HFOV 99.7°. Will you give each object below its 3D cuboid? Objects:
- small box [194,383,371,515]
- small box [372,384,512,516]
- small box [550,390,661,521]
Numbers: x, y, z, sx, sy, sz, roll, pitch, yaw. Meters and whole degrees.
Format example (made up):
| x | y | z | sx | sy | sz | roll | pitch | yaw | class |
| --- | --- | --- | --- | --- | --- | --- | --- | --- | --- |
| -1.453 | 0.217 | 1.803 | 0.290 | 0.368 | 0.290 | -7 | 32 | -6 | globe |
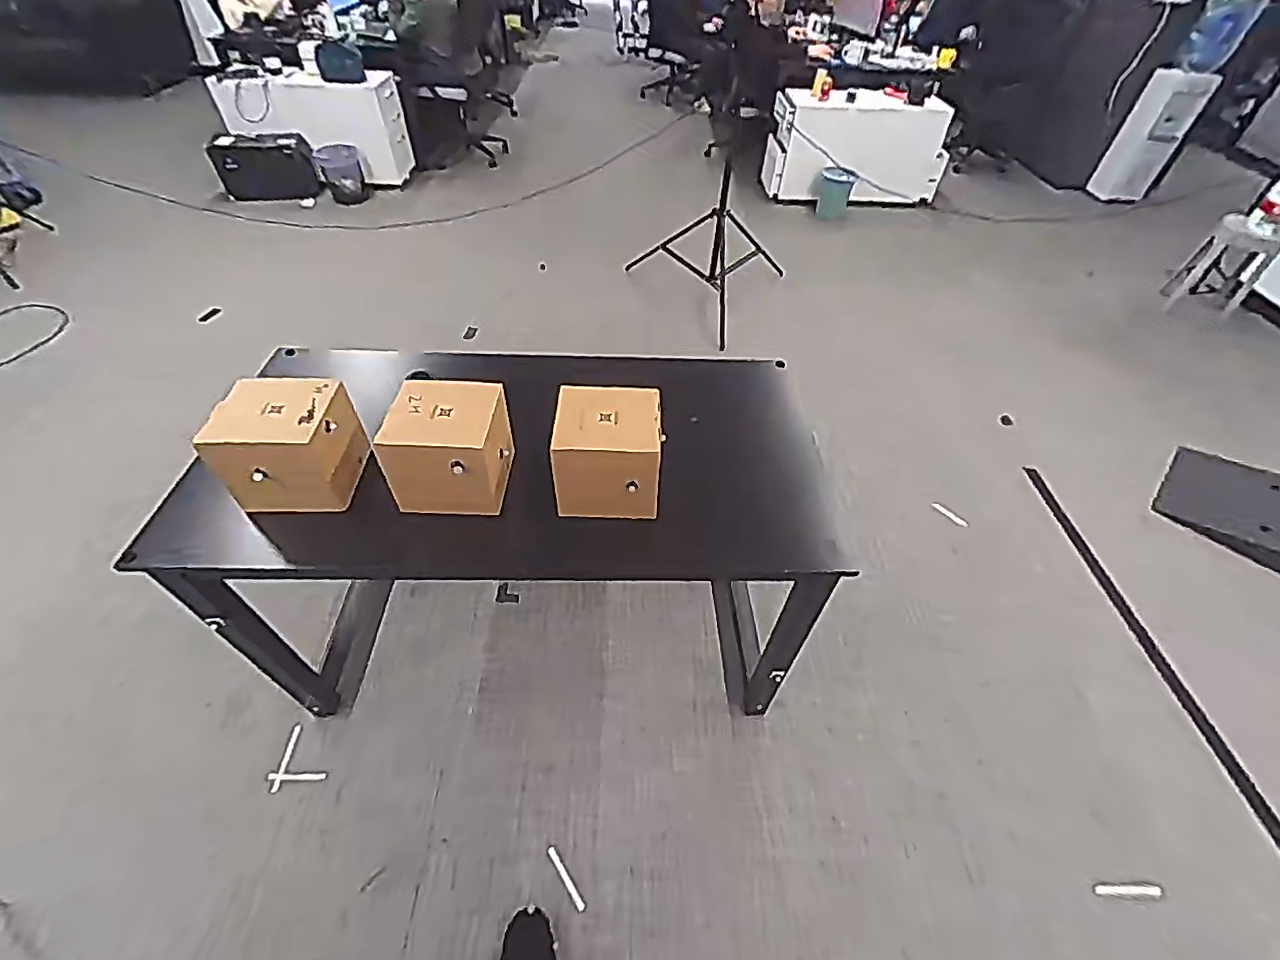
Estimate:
| x | y | z | sx | sy | sz | roll | pitch | yaw | class |
| --- | --- | --- | --- | --- | --- | --- | --- | --- | --- |
| -0.605 | -0.052 | 0.945 | 0.179 | 0.176 | 0.168 | -1 | 47 | -3 | small box |
| -0.332 | -0.049 | 0.953 | 0.179 | 0.176 | 0.168 | 2 | 47 | -1 | small box |
| -0.059 | -0.041 | 0.959 | 0.179 | 0.176 | 0.168 | 0 | 45 | -2 | small box |
